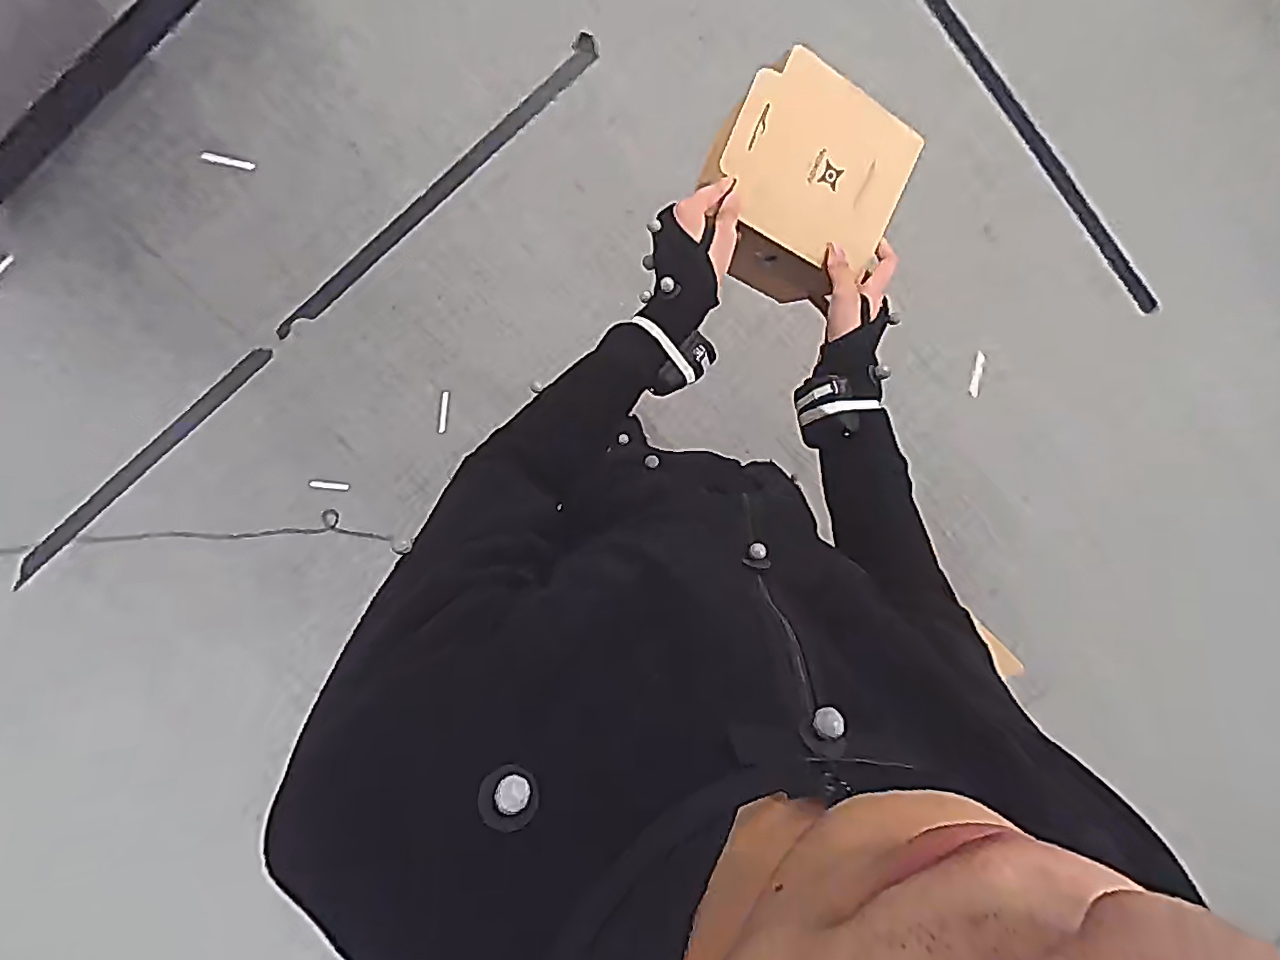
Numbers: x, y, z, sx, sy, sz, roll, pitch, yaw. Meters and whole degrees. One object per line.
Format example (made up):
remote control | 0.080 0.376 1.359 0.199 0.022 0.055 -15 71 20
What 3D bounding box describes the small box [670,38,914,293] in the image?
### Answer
small box | 0.156 -0.327 0.613 0.179 0.176 0.168 20 96 -19
